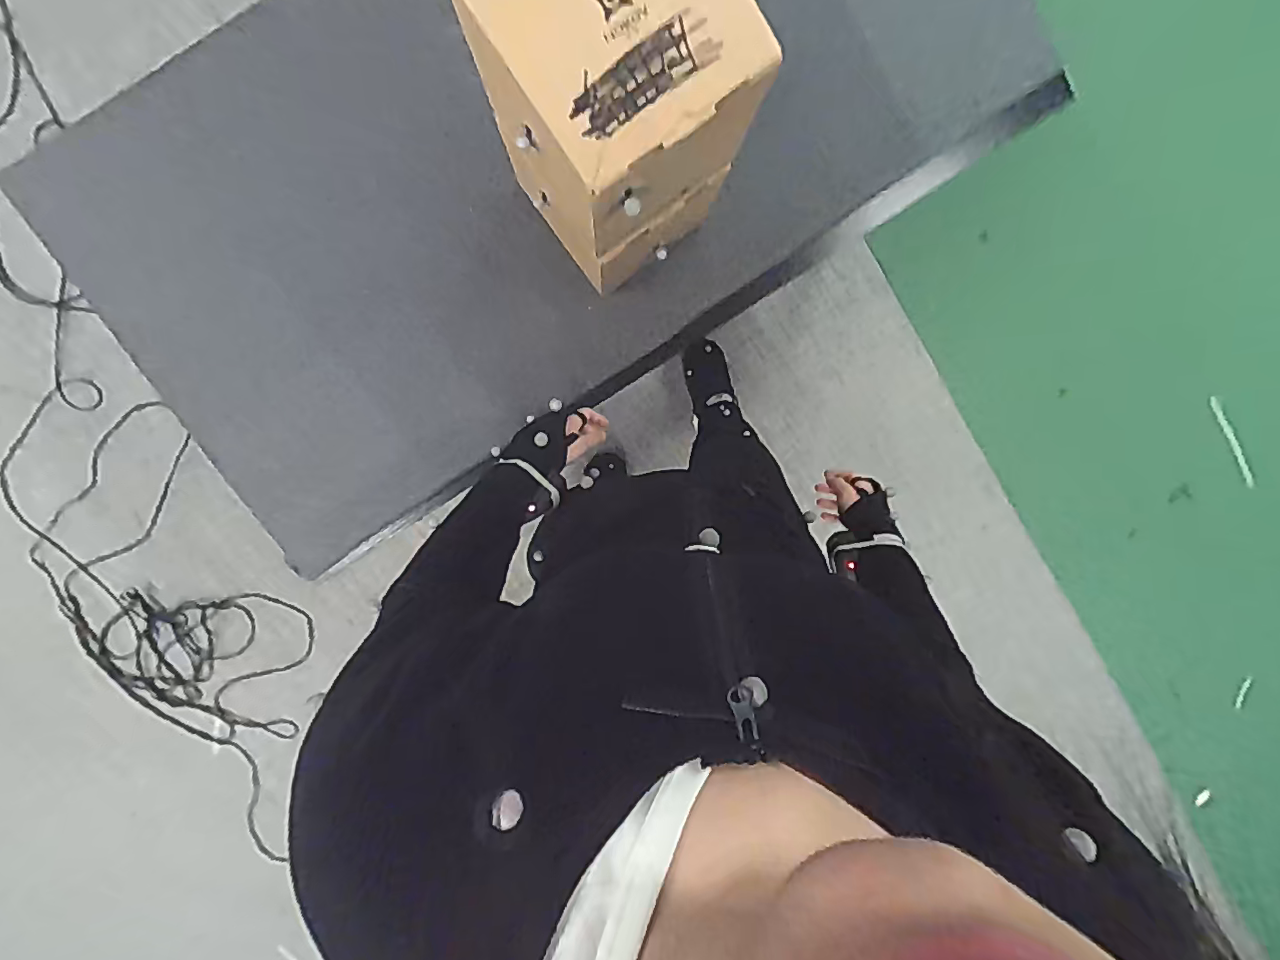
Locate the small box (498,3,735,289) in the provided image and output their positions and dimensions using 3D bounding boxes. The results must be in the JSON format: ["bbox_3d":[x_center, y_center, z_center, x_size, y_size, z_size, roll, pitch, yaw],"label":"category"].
[{"bbox_3d":[-0.026,-0.342,0.597,0.168,0.176,0.179,-37,98,2],"label":"small box"}]
